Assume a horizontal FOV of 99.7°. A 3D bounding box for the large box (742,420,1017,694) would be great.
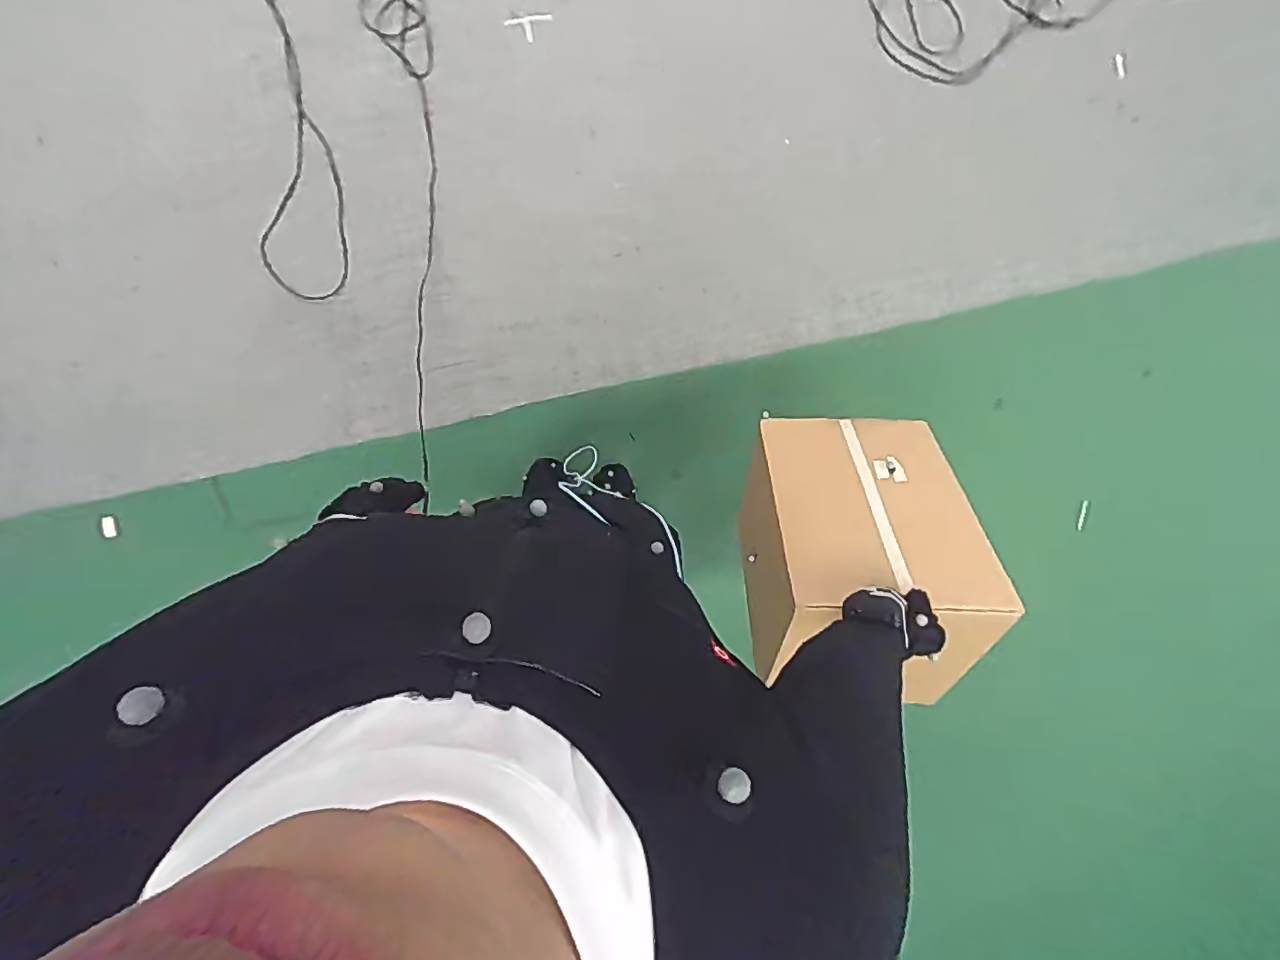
[{"bbox_3d":[0.378,0.137,0.994,0.320,0.408,0.320,1,135,1],"label":"large box"}]
